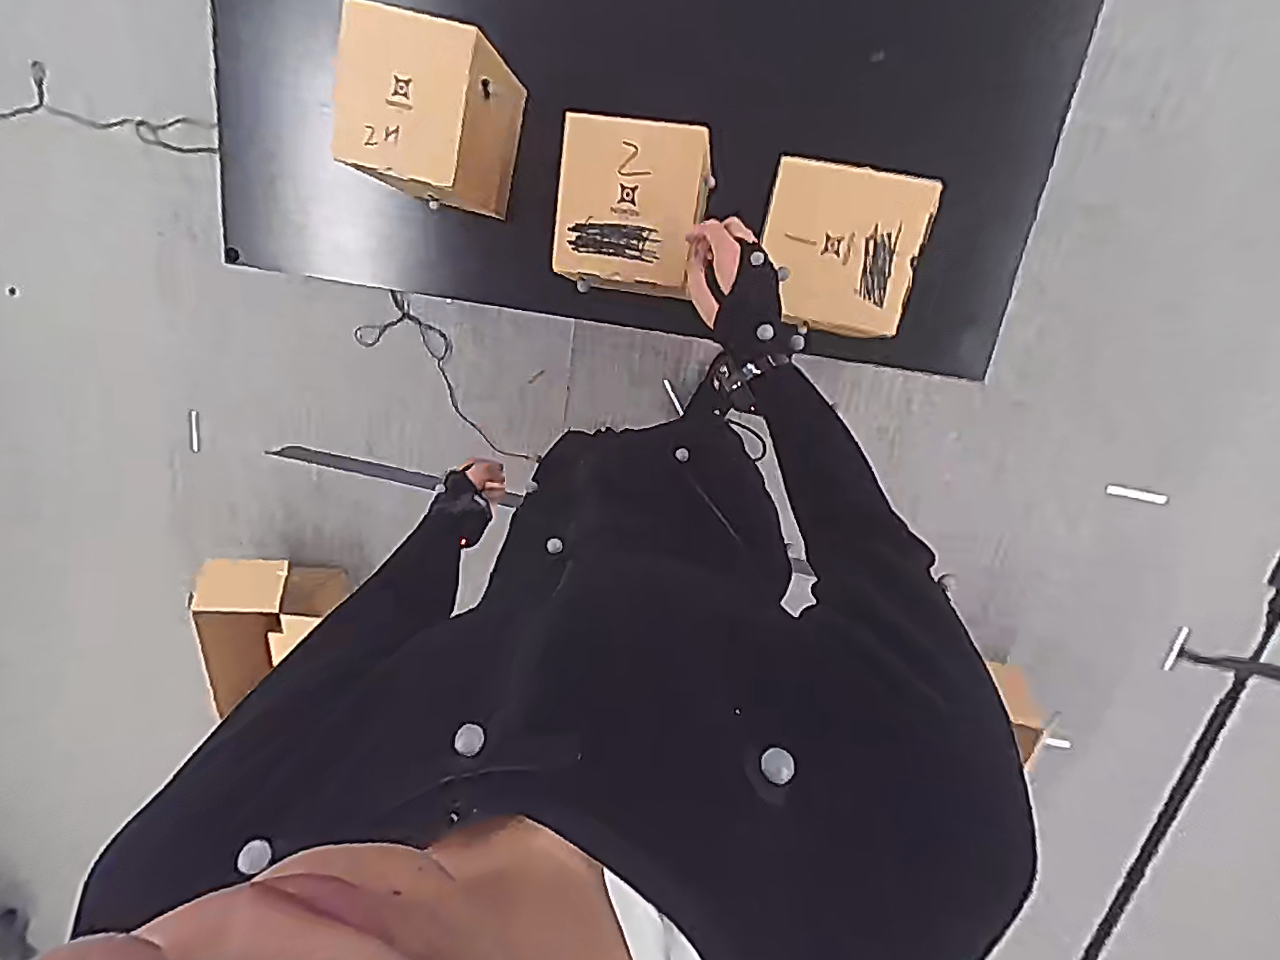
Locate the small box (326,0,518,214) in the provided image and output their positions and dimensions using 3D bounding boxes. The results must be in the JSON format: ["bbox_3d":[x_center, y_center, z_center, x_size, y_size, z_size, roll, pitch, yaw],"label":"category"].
[{"bbox_3d":[-0.274,-0.475,0.710,0.168,0.176,0.179,16,107,4],"label":"small box"}]

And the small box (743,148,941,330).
[{"bbox_3d":[0.235,-0.289,0.682,0.179,0.176,0.168,13,106,6],"label":"small box"}]
